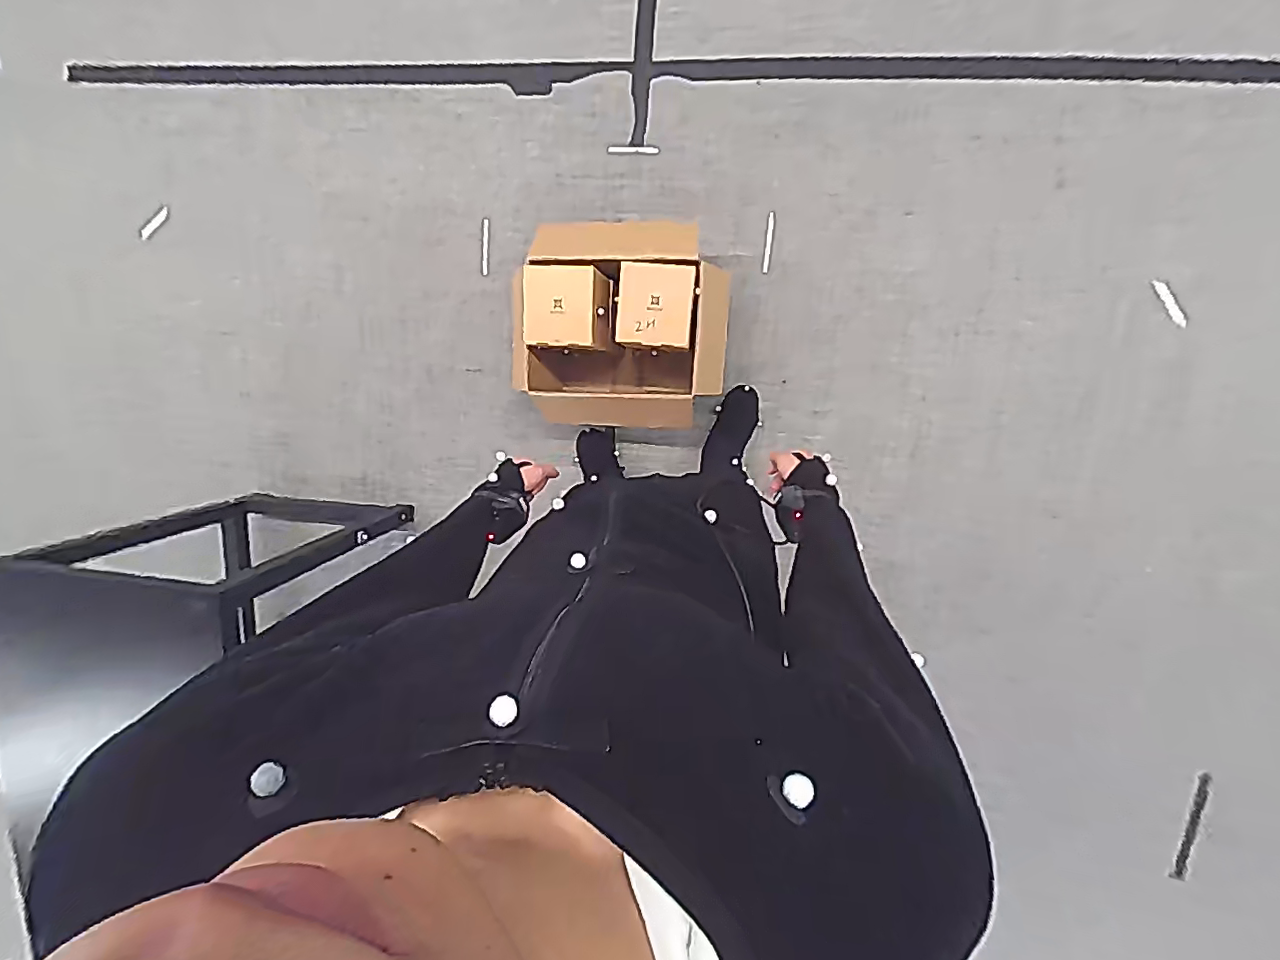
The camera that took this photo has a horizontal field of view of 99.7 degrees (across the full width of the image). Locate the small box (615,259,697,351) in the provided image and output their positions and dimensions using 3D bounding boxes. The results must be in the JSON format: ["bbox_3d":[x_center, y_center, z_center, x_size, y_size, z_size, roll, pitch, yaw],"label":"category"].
[{"bbox_3d":[0.042,-0.401,1.262,0.168,0.176,0.179,7,102,7],"label":"small box"}]
